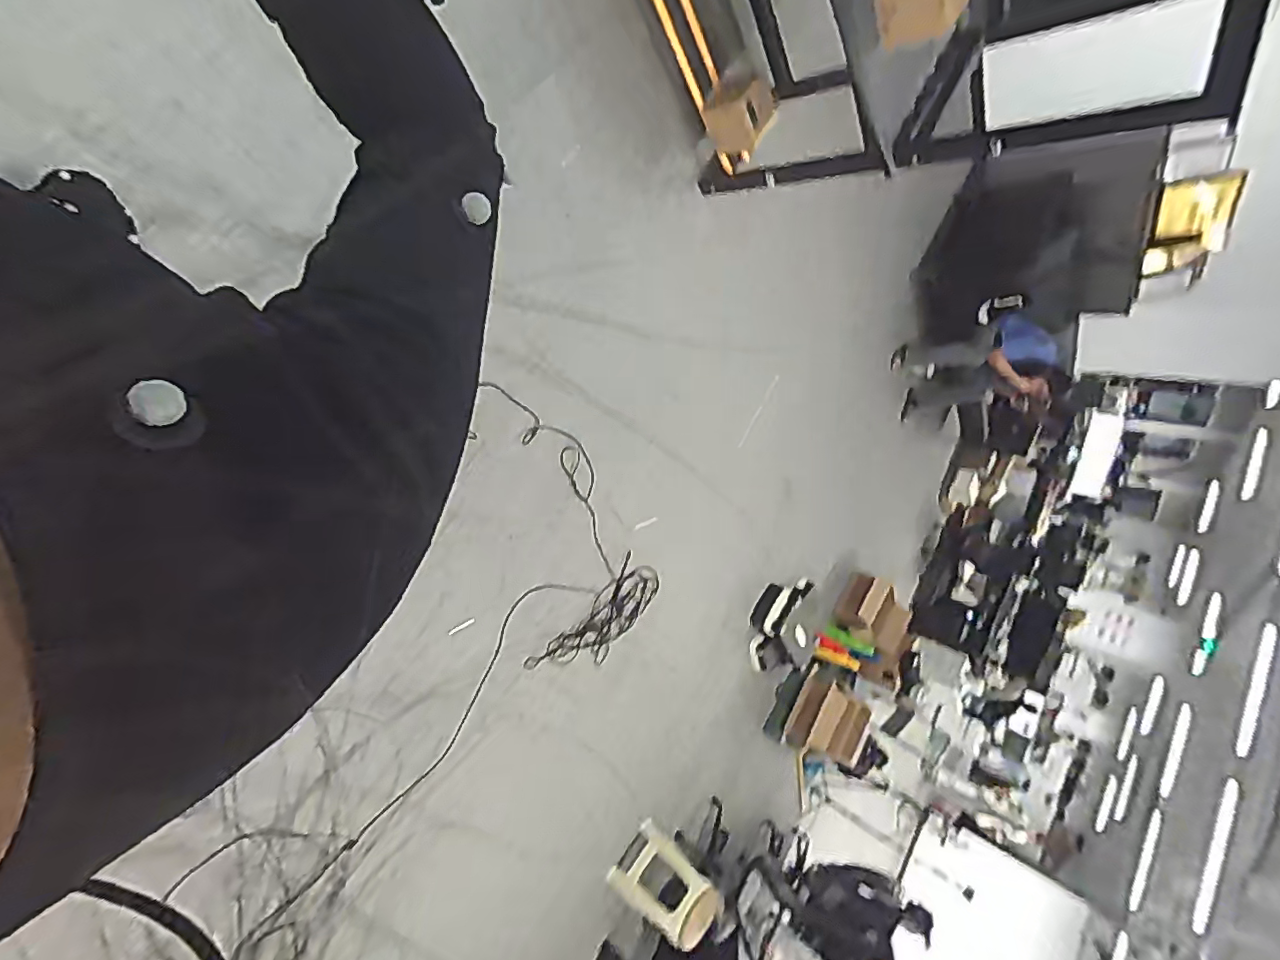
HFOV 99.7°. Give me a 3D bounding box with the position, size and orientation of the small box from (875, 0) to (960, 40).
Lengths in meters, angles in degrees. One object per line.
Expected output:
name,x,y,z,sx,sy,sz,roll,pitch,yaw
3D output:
small box,0.704,-1.262,1.353,0.168,0.176,0.179,44,70,-45
